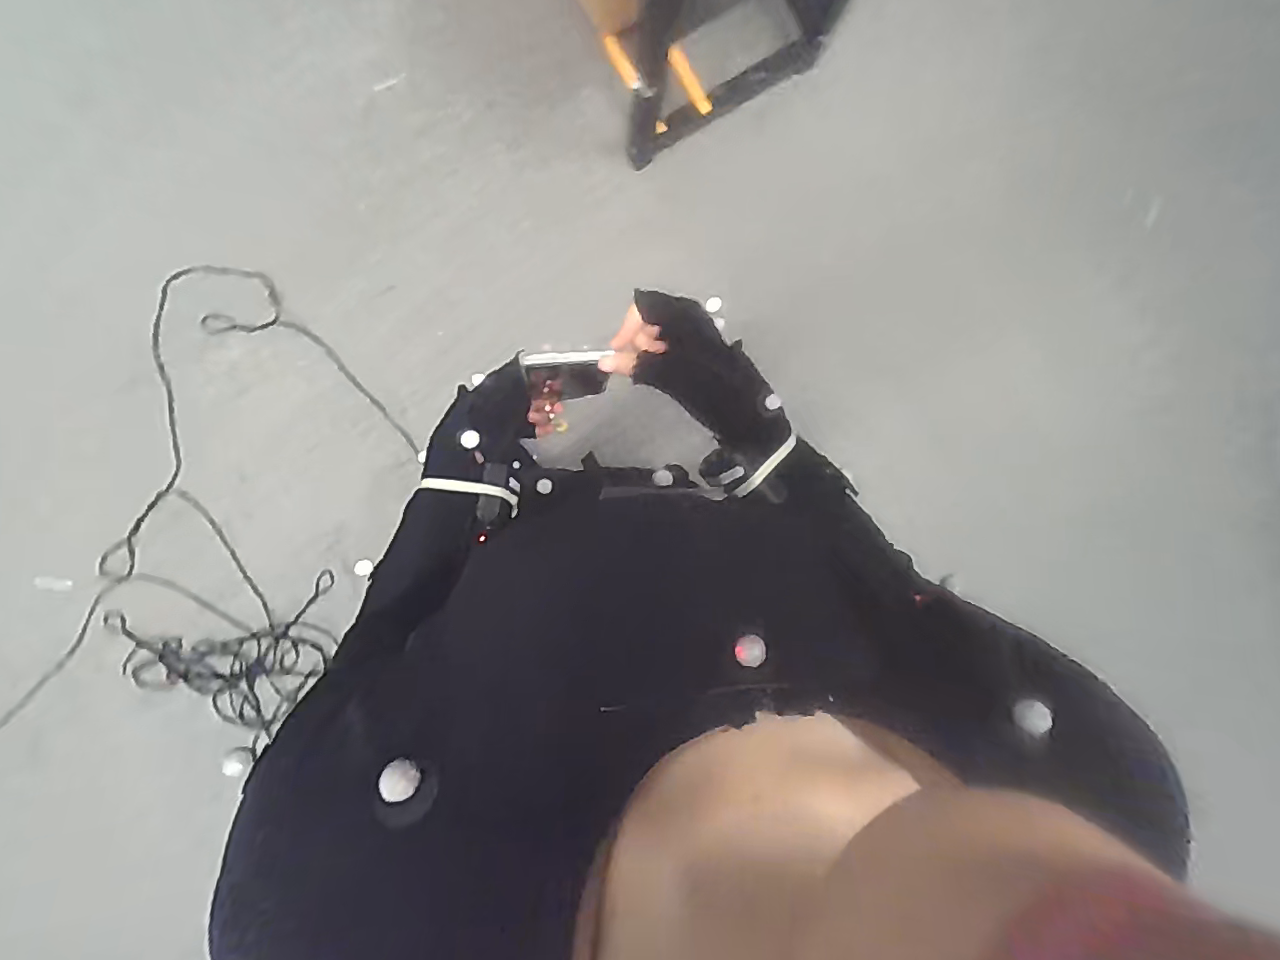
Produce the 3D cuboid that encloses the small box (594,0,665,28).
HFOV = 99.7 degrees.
[{"bbox_3d":[-0.036,-1.185,1.219,0.179,0.176,0.168,-27,95,-2],"label":"small box"}]
